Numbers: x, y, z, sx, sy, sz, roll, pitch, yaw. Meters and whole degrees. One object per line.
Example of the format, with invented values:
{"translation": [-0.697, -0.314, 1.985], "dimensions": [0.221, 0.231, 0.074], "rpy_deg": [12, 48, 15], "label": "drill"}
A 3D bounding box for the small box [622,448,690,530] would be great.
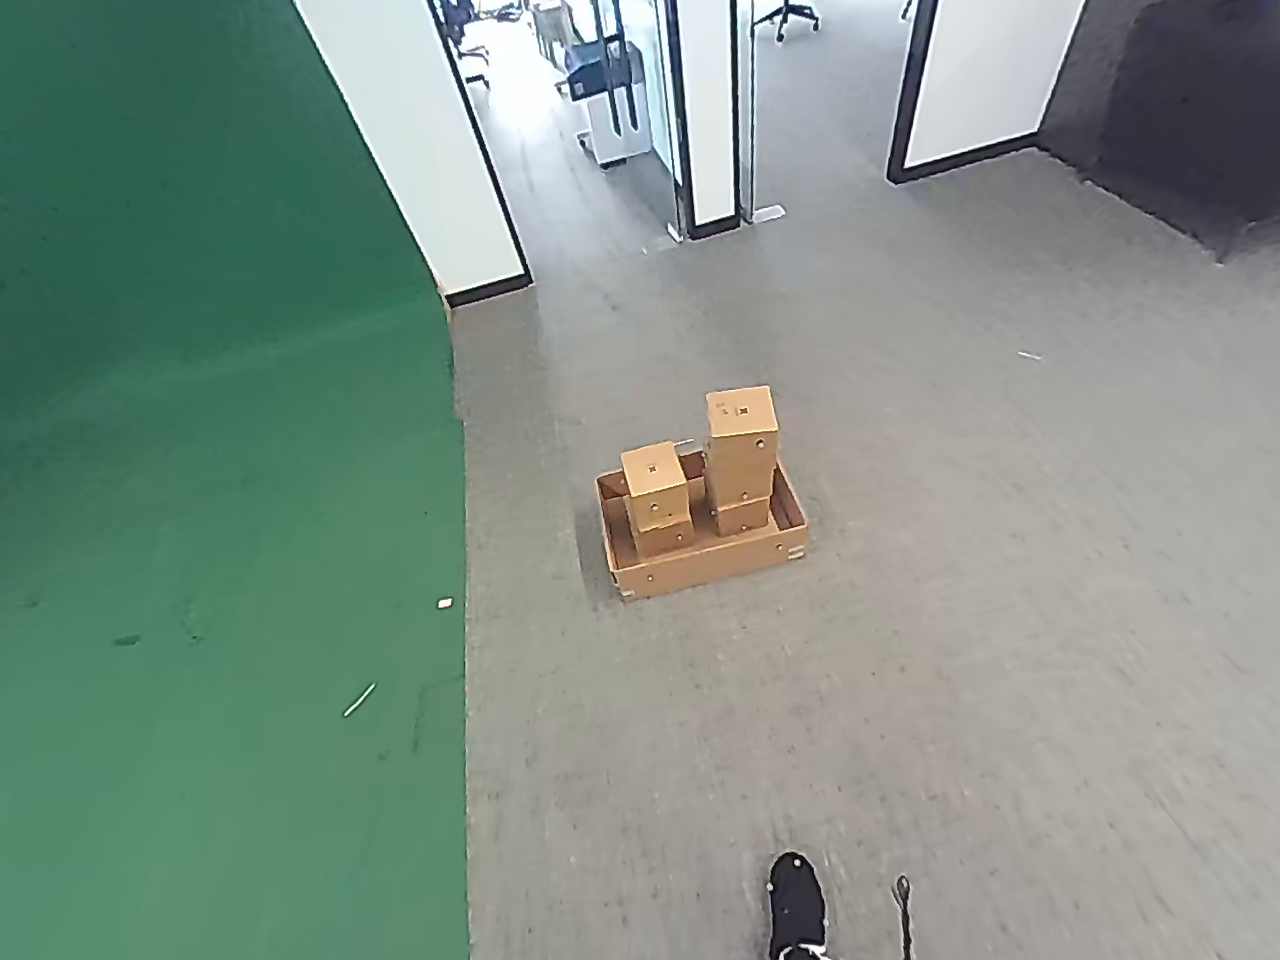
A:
{"translation": [0.051, 0.035, 1.654], "dimensions": [0.168, 0.176, 0.179], "rpy_deg": [-15, 50, -3], "label": "small box"}

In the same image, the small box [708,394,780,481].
{"translation": [0.286, -0.116, 1.507], "dimensions": [0.179, 0.176, 0.168], "rpy_deg": [-6, 52, 7], "label": "small box"}

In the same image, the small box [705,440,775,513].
{"translation": [0.300, -0.023, 1.645], "dimensions": [0.179, 0.176, 0.168], "rpy_deg": [-12, 51, 2], "label": "small box"}
